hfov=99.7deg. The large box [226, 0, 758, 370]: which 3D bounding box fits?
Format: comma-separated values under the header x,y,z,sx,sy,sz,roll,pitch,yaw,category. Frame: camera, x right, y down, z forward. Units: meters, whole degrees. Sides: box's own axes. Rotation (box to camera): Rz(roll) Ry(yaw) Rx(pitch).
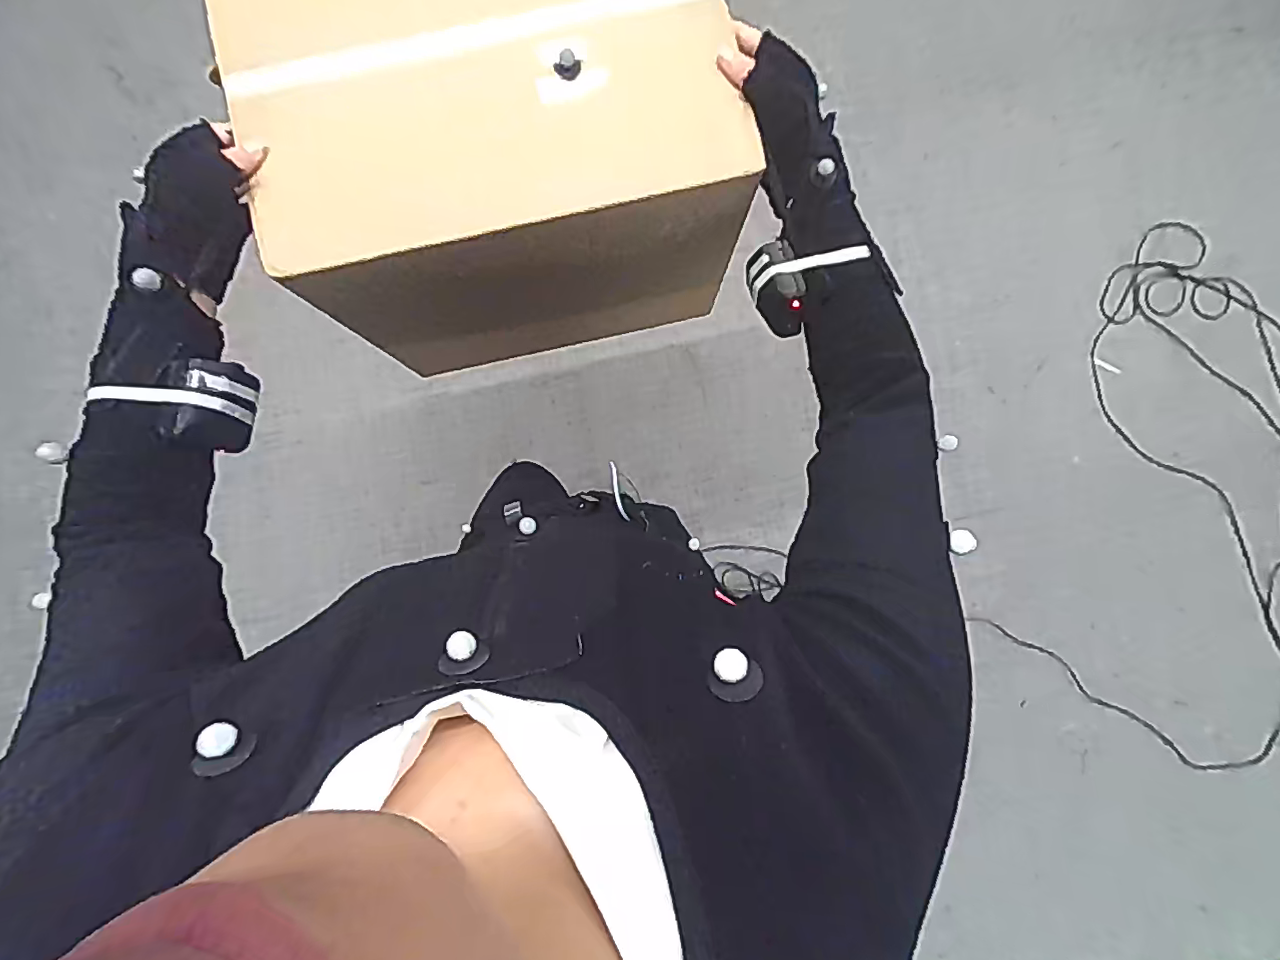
x,y,z,sx,sy,sz,roll,pitch,yaw,category
-0.134,-0.350,0.595,0.408,0.320,0.320,-14,87,-2,large box
